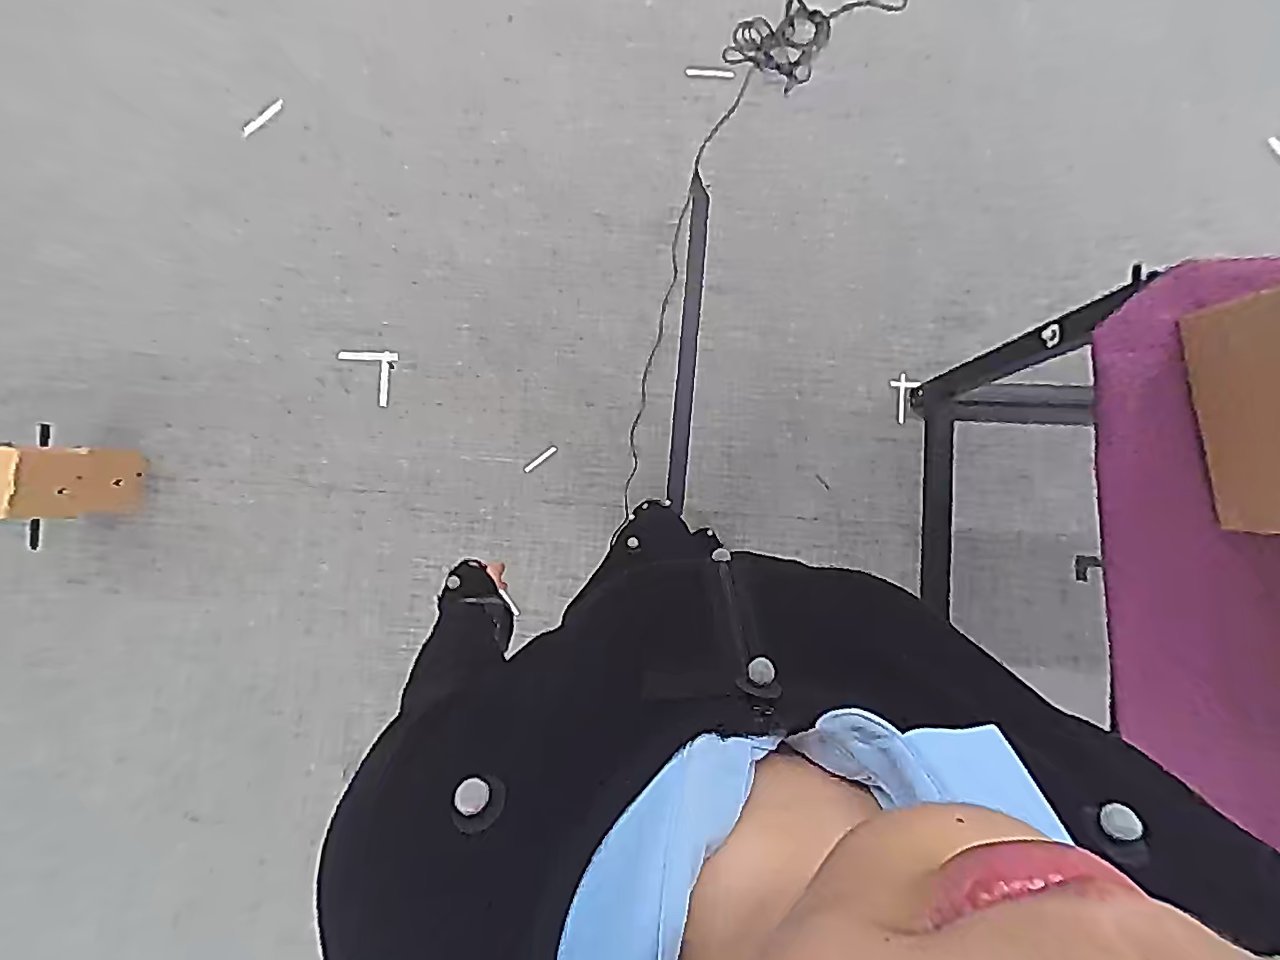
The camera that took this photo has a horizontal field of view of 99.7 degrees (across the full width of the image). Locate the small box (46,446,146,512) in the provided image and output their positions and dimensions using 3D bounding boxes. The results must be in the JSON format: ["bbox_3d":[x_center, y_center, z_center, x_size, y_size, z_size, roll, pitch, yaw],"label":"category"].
[{"bbox_3d":[-1.505,-0.001,1.473,0.179,0.176,0.168,2,87,2],"label":"small box"}]

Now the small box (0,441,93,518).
[{"bbox_3d":[-1.506,-0.002,1.310,0.179,0.176,0.168,9,88,1],"label":"small box"}]
